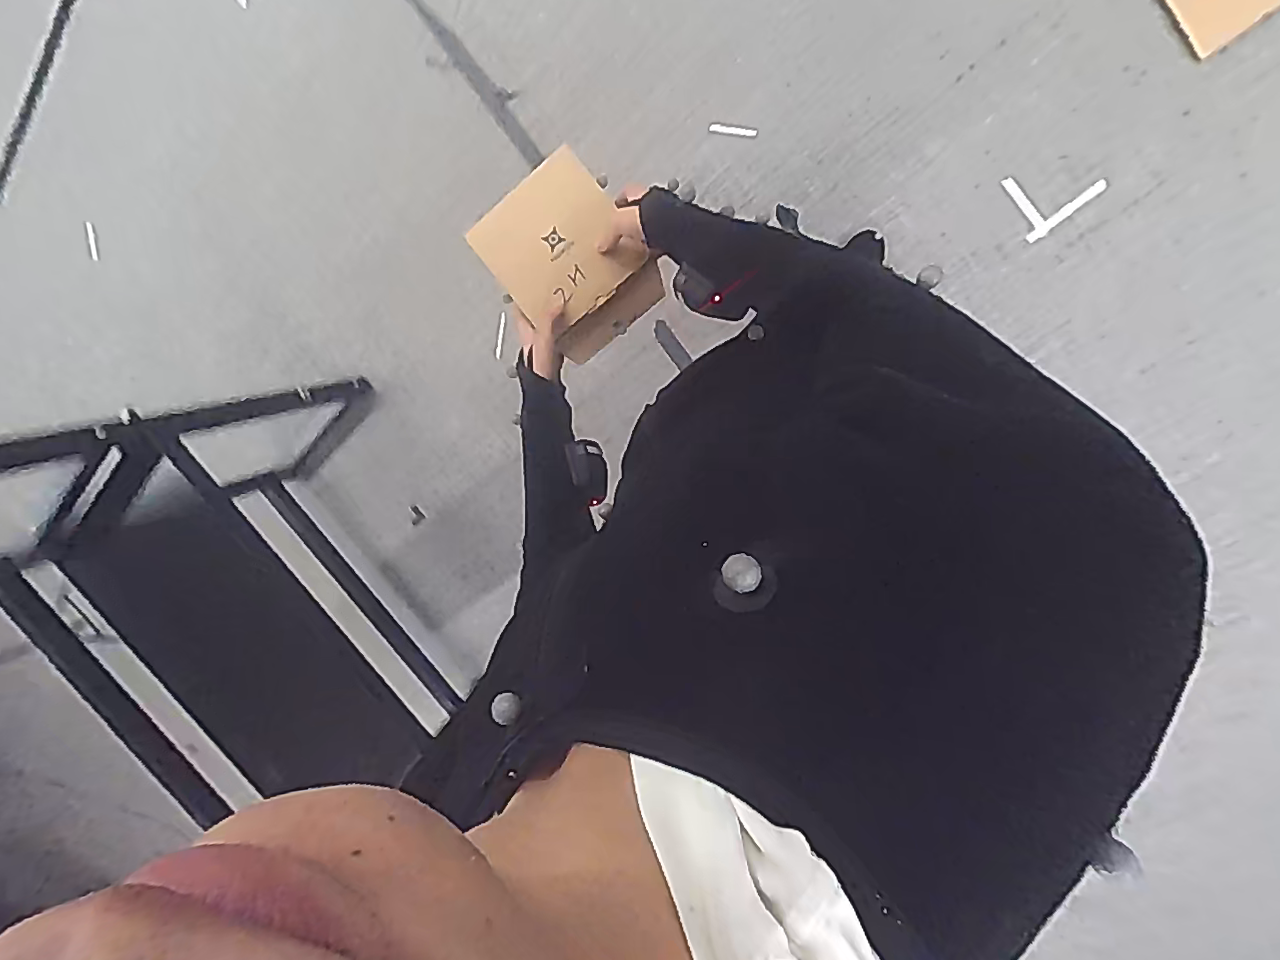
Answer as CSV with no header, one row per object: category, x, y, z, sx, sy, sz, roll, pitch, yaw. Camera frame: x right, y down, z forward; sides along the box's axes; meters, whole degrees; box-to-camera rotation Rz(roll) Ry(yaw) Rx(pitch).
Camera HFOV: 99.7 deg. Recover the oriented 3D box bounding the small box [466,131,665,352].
small box,-0.084,-0.291,0.706,0.168,0.176,0.179,-37,90,8
